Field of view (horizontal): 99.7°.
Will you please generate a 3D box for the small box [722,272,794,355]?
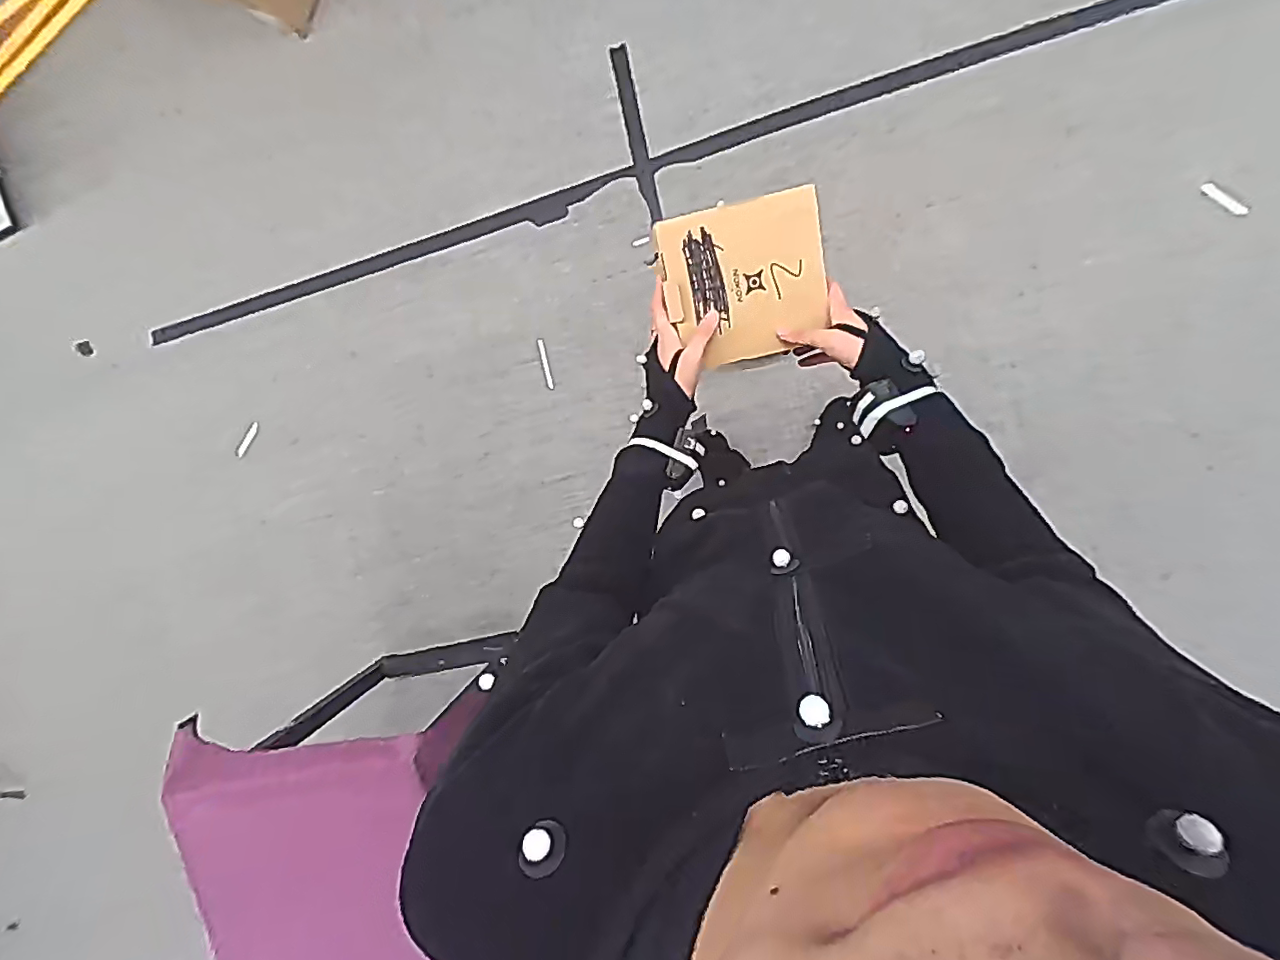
[{"bbox_3d":[0.317,-0.444,1.475,0.168,0.176,0.179,-9,95,9],"label":"small box"}]
